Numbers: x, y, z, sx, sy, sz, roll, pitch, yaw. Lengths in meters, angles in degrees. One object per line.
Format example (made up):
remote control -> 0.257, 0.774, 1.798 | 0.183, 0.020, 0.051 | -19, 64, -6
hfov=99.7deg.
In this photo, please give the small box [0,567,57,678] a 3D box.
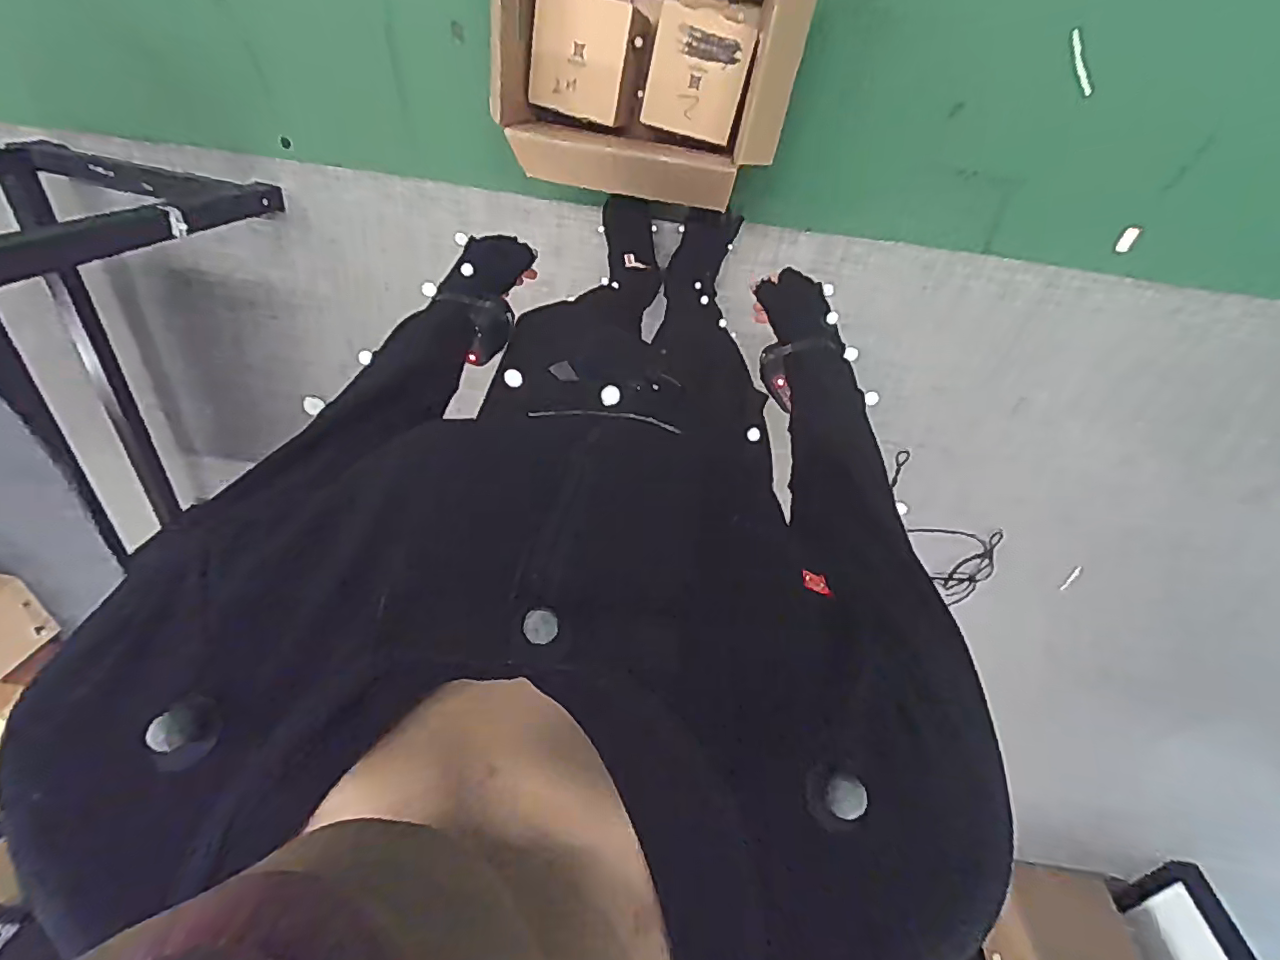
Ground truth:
small box -> -1.314, 0.273, 1.051 | 0.179, 0.176, 0.168 | 10, 127, 2
